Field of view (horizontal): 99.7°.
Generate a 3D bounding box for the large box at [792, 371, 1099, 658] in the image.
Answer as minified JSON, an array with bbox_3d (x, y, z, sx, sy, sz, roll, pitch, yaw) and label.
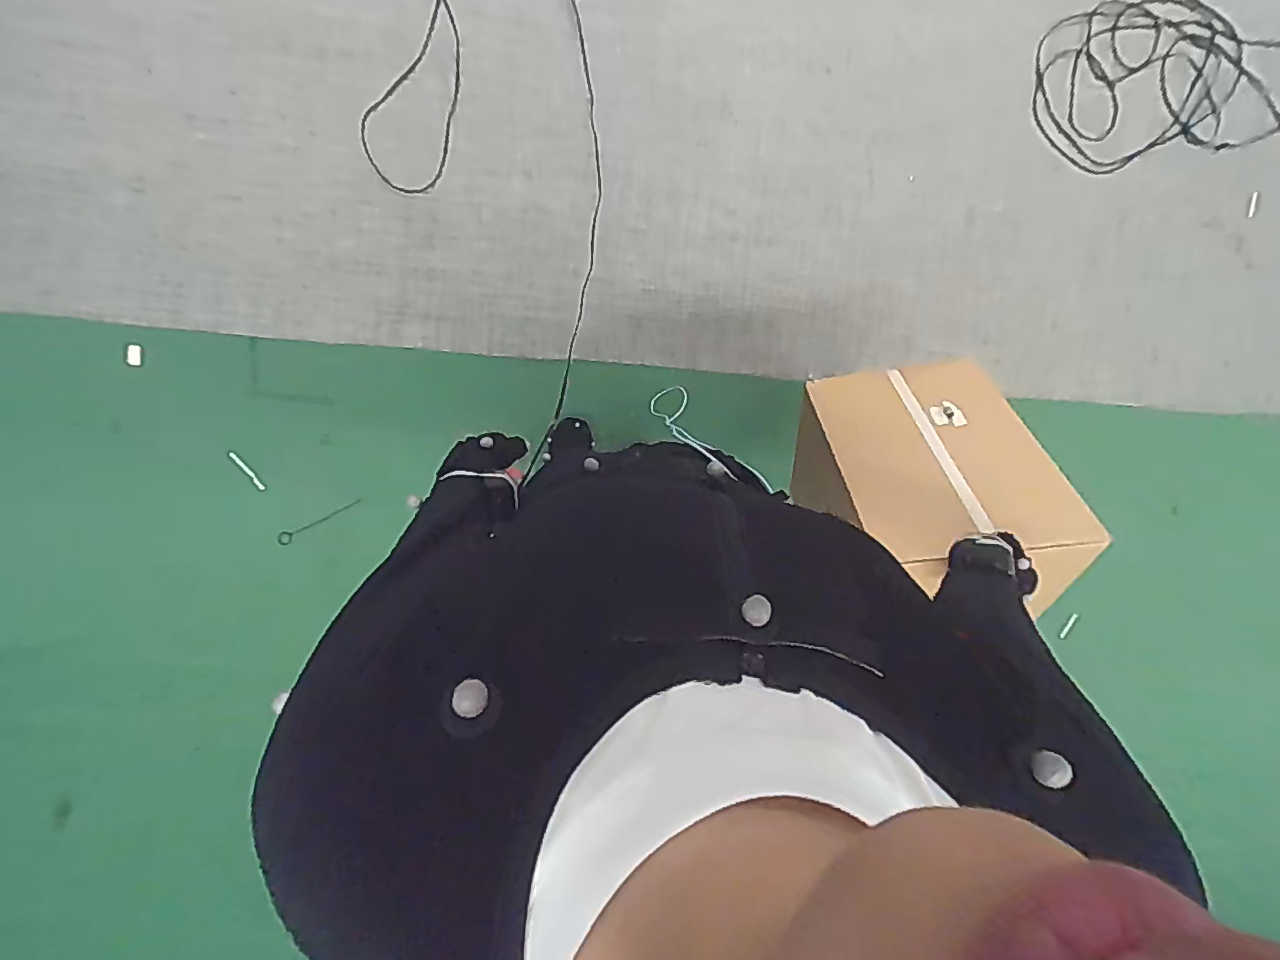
[{"bbox_3d":[0.489,0.059,0.989,0.320,0.408,0.320,-6,137,2],"label":"large box"}]
